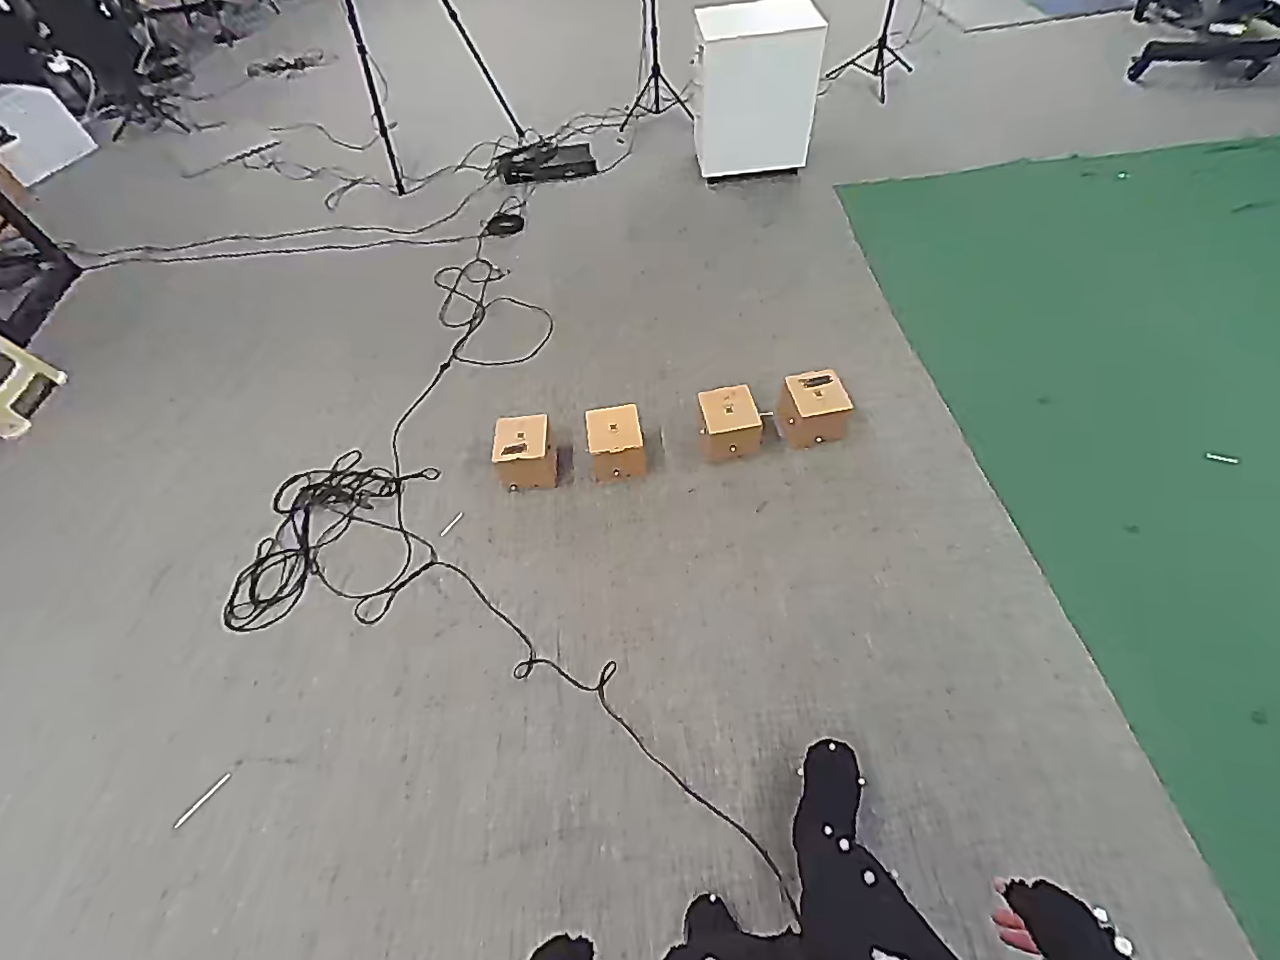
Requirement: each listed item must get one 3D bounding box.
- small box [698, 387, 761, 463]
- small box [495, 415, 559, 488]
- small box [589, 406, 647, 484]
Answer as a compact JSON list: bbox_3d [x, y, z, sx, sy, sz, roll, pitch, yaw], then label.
[{"bbox_3d":[0.285,-0.171,1.753,0.168,0.176,0.179,-10,56,-2],"label":"small box"},{"bbox_3d":[-0.360,-0.085,1.754,0.168,0.176,0.179,-5,55,2],"label":"small box"},{"bbox_3d":[-0.070,-0.112,1.748,0.168,0.176,0.179,-9,56,-1],"label":"small box"}]
